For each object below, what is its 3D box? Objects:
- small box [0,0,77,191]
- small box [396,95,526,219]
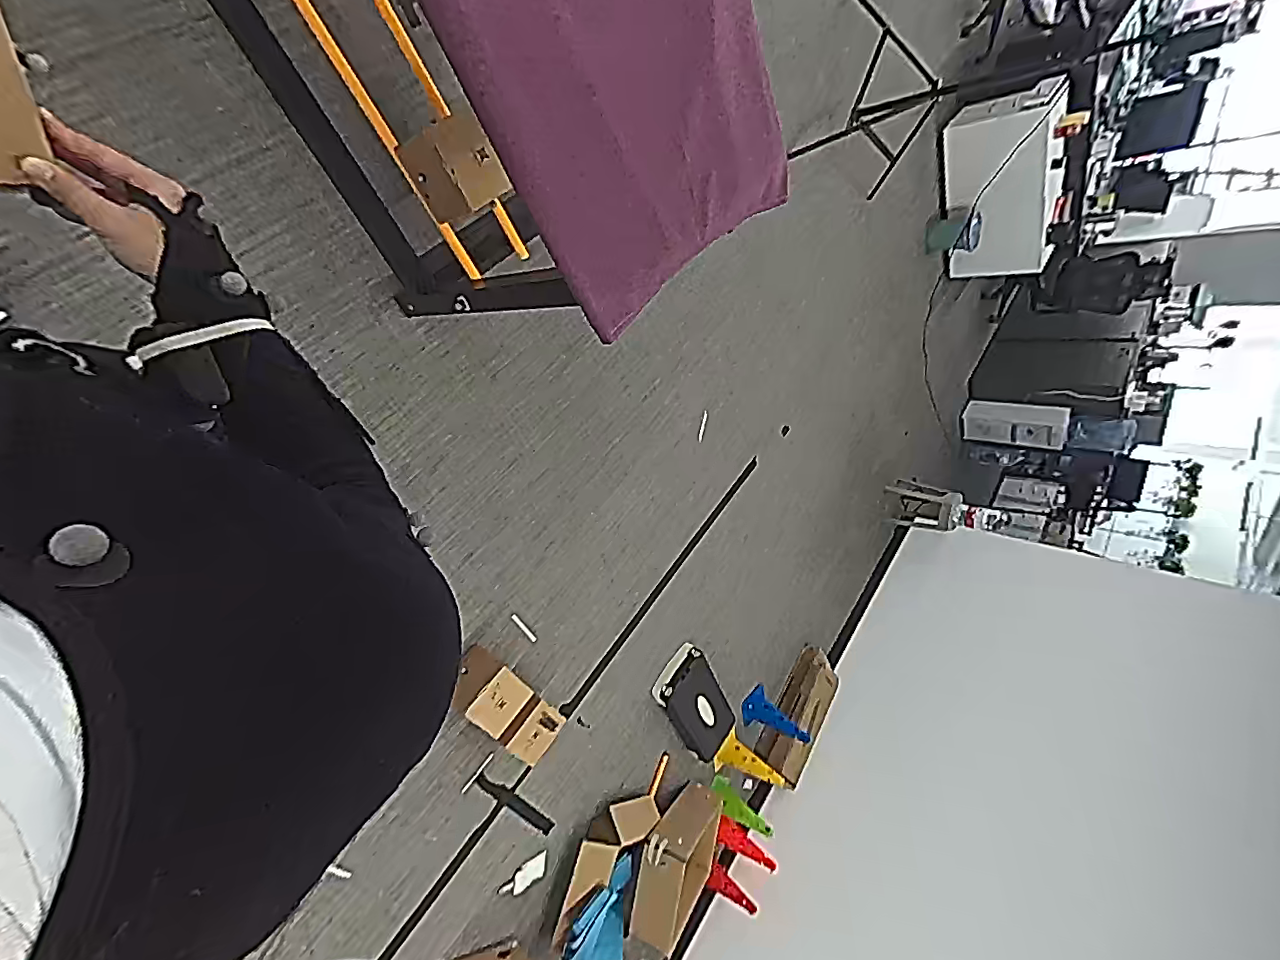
[{"bbox_3d":[-0.482,-0.276,0.317,0.168,0.176,0.179,-23,123,-38],"label":"small box"},{"bbox_3d":[-0.390,-0.694,1.174,0.179,0.176,0.168,-48,130,-25],"label":"small box"}]
